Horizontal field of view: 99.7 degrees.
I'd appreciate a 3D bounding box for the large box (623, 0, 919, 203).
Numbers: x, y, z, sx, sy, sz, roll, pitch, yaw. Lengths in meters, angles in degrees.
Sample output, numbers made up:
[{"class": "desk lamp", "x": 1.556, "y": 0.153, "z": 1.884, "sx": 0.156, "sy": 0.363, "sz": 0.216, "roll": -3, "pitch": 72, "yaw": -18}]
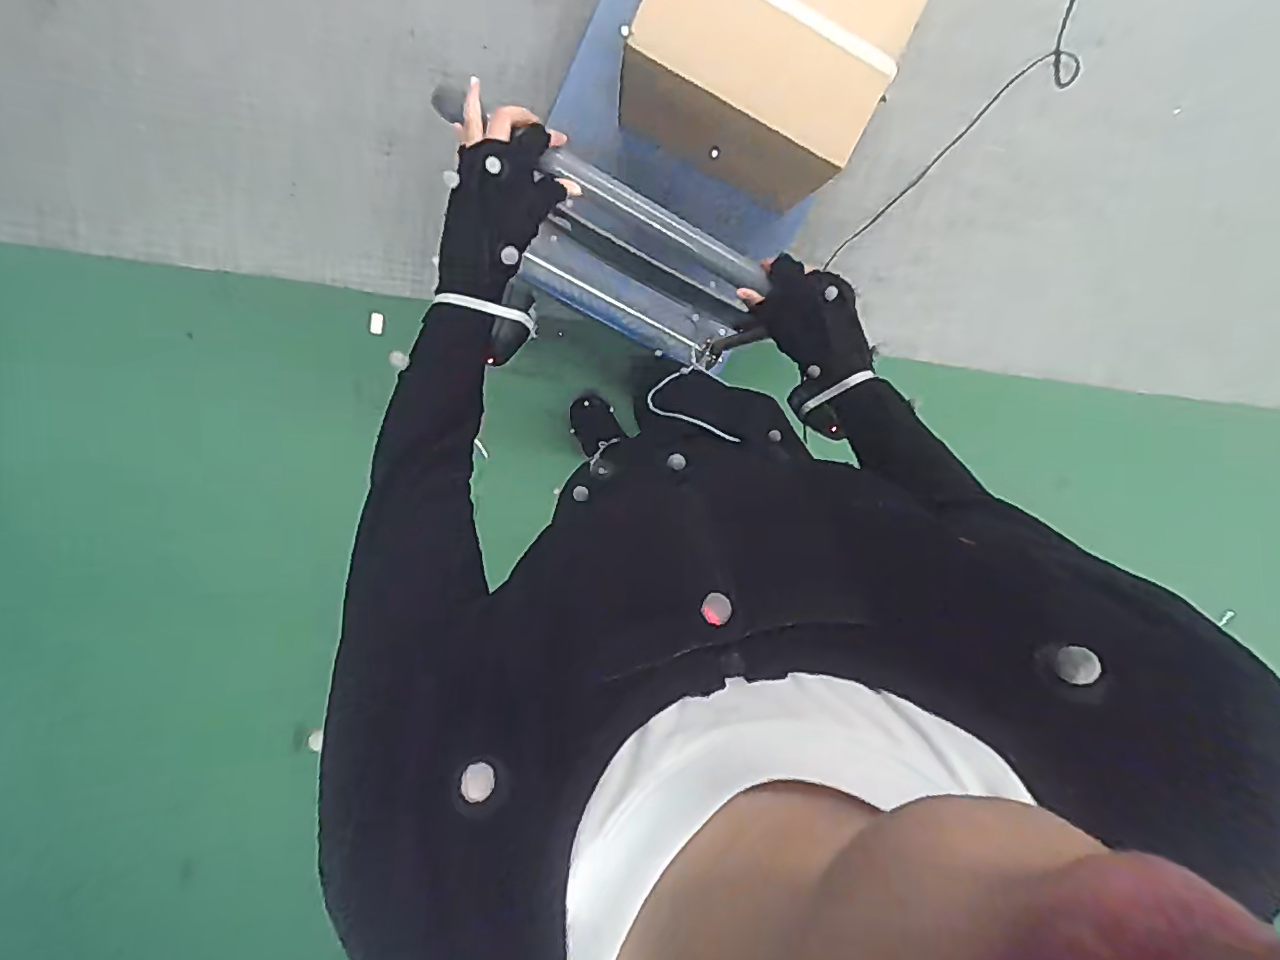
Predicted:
[{"class": "large box", "x": 0.211, "y": -0.774, "z": 0.983, "sx": 0.408, "sy": 0.320, "sz": 0.320, "roll": 24, "pitch": 100, "yaw": -8}]
